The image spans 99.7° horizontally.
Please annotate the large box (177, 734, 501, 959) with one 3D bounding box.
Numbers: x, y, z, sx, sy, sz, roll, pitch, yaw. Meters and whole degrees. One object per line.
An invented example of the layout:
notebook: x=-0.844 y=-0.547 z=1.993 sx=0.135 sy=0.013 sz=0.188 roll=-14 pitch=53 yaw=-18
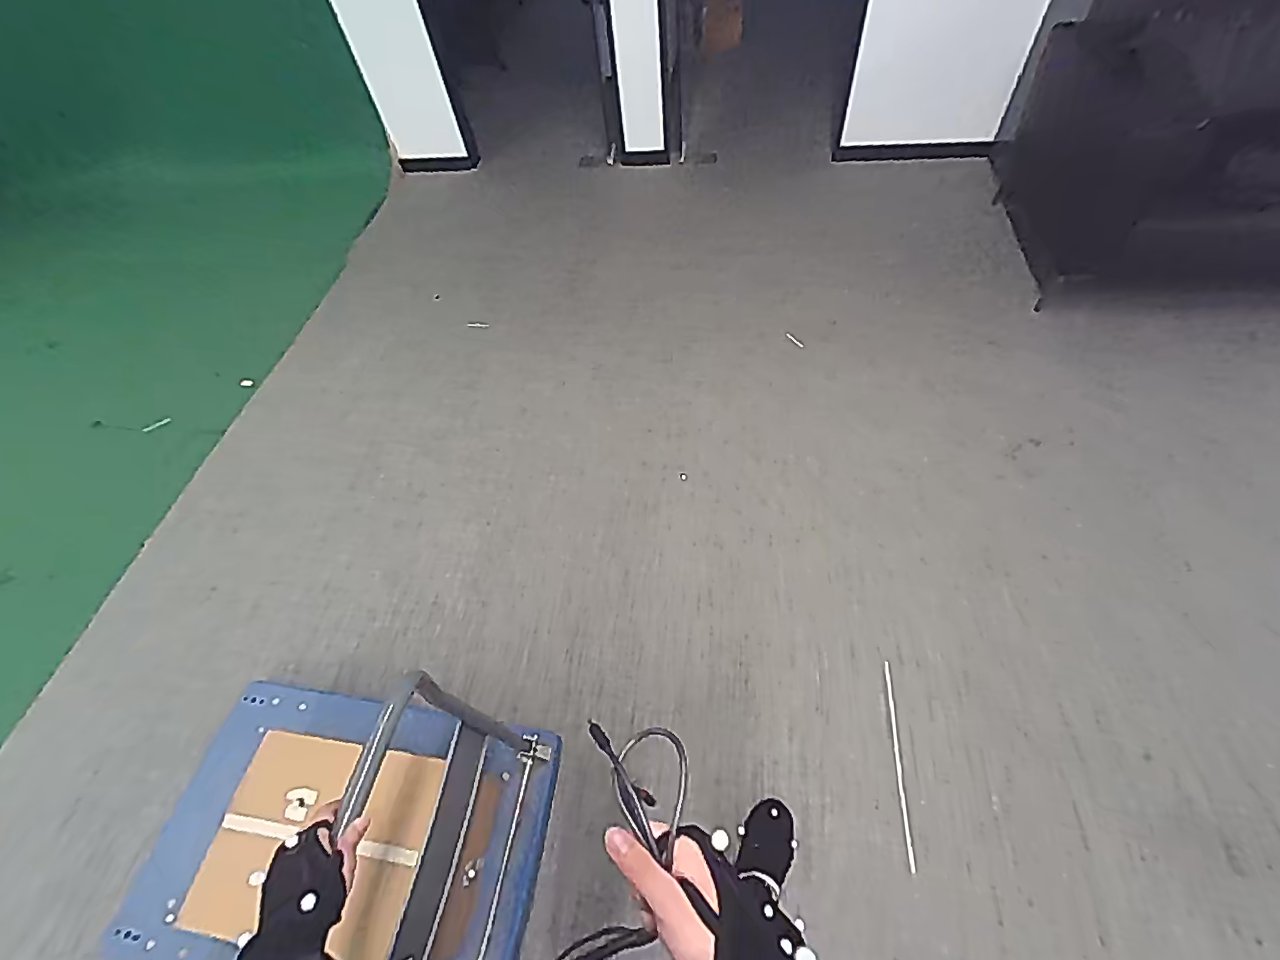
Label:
large box: x=-0.545 y=0.721 z=1.076 sx=0.408 sy=0.320 sz=0.320 roll=4 pitch=56 yaw=10
